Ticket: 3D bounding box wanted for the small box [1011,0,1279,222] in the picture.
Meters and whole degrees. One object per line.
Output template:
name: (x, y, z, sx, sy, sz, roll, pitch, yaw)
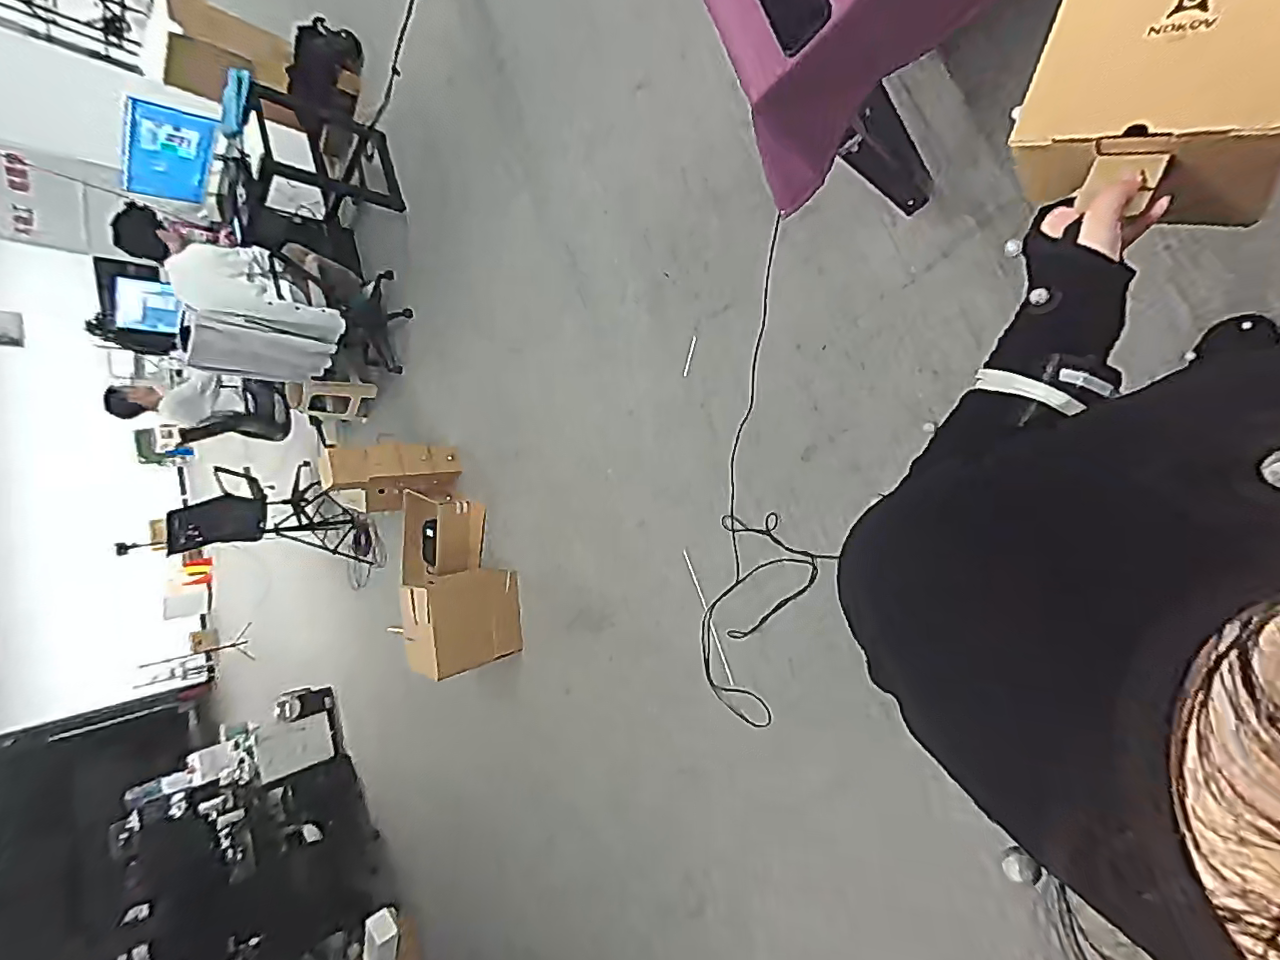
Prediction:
small box: (0.437, -0.335, 0.441, 0.168, 0.176, 0.179, 26, 107, 39)
